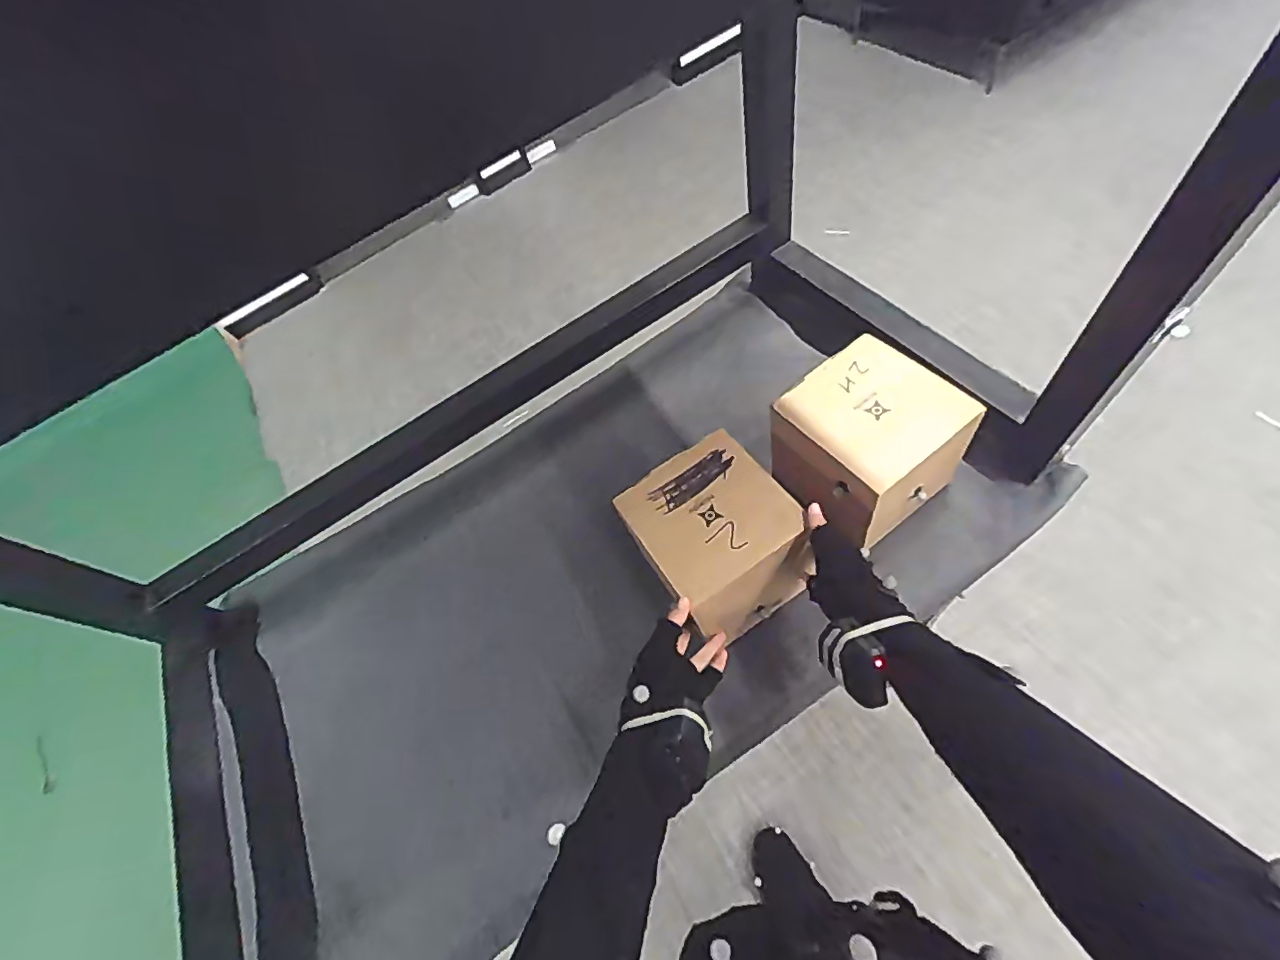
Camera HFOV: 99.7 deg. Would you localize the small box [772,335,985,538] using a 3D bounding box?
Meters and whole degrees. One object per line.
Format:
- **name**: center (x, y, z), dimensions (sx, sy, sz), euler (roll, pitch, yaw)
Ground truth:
- **small box**: center (0.294, -0.045, 0.705), dimensions (0.168, 0.176, 0.179), euler (-37, 58, -8)
